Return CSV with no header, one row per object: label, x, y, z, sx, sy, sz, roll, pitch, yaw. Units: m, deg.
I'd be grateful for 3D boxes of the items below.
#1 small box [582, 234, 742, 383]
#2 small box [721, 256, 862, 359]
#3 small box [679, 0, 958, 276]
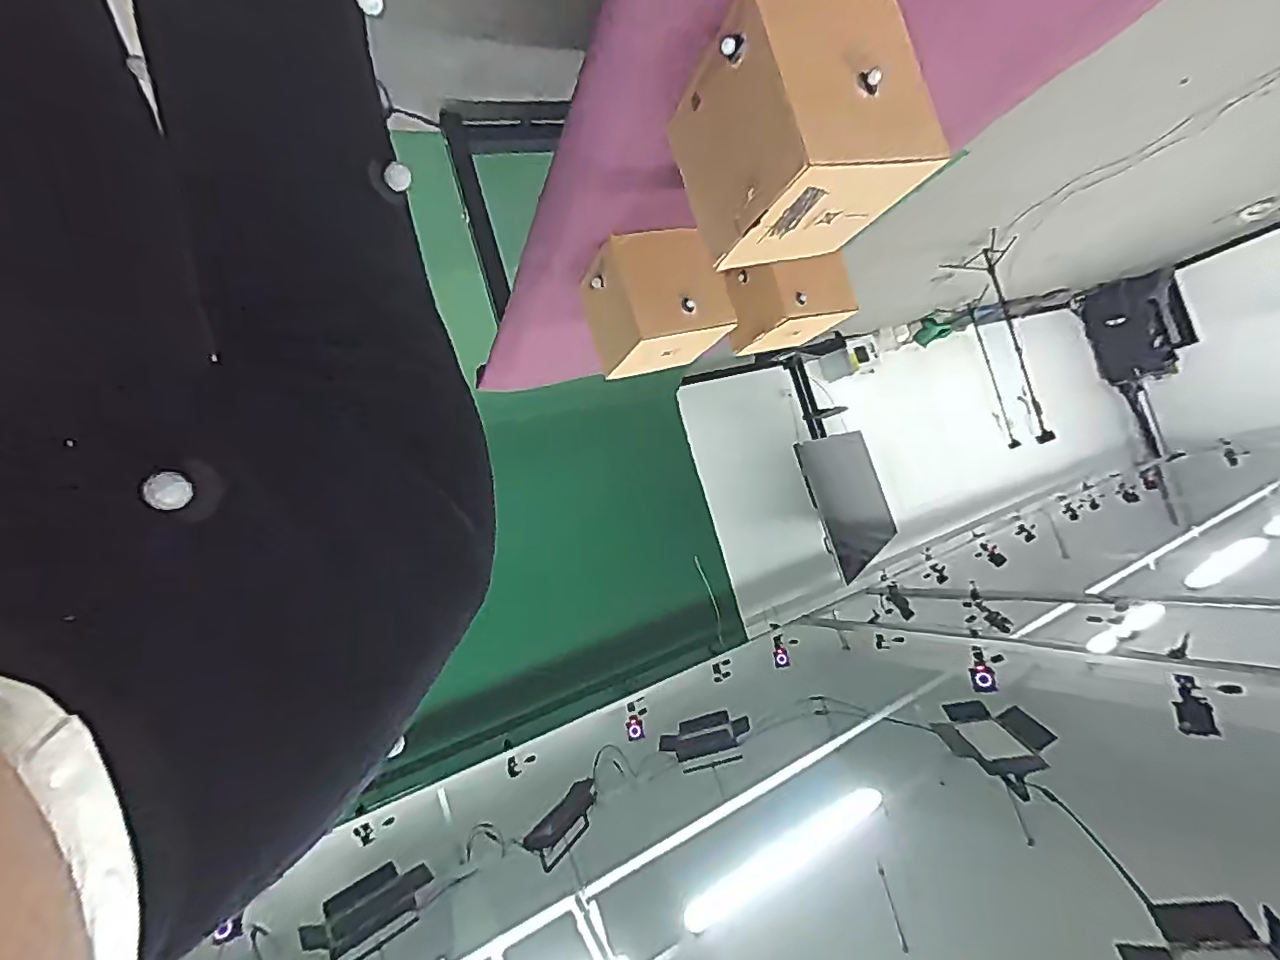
small box,0.028,-0.274,0.867,0.179,0.176,0.168,-16,176,-25
small box,0.266,-0.339,0.989,0.179,0.176,0.168,-14,177,-25
small box,0.161,-0.329,0.534,0.179,0.176,0.168,-17,178,-22
